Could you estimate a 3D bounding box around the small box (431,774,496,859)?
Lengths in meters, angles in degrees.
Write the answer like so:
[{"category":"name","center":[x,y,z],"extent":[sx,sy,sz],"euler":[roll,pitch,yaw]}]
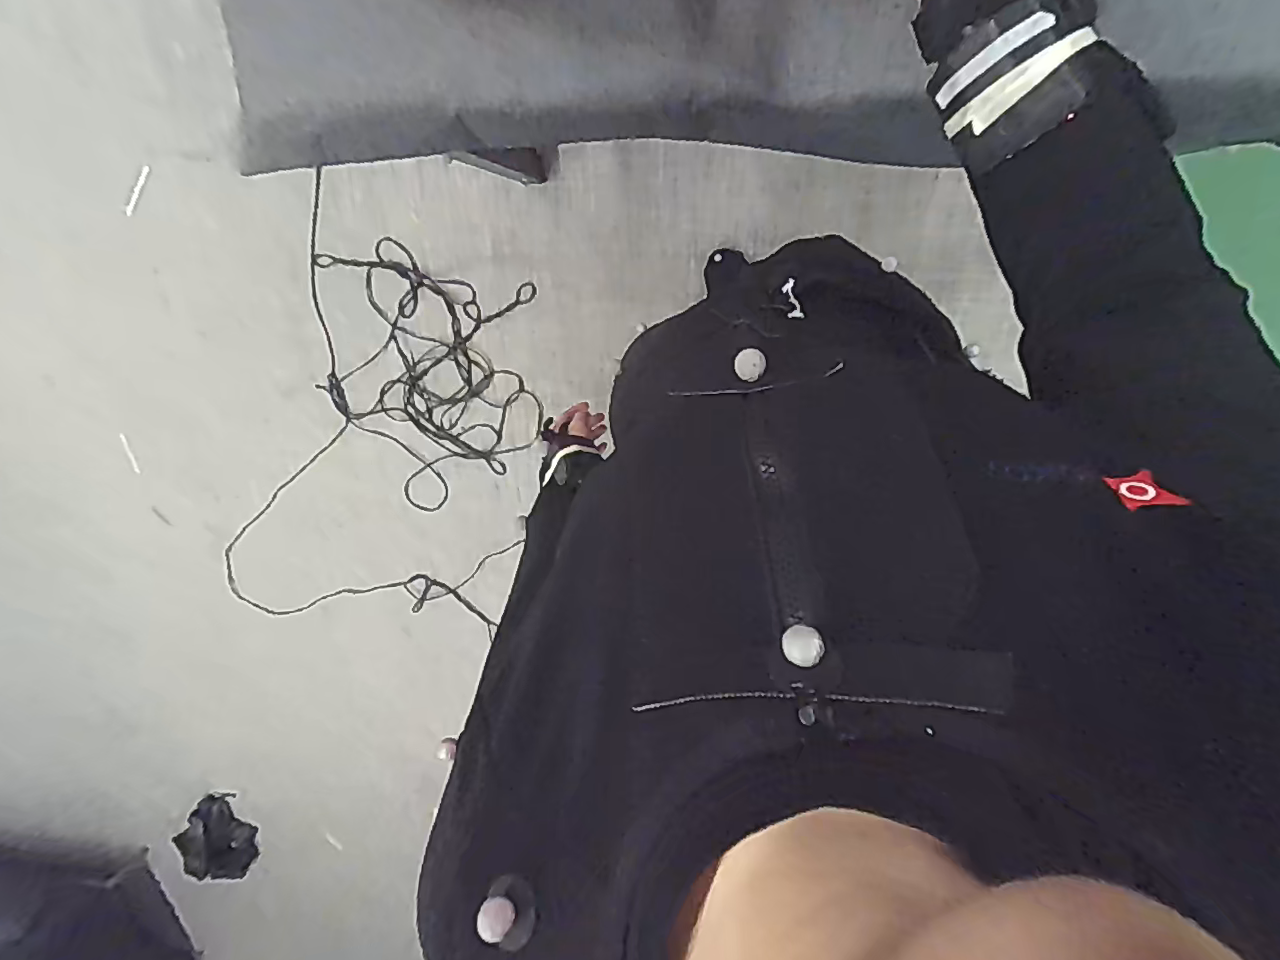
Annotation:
[{"category":"small box","center":[-0.617,1.180,1.902],"extent":[0.168,0.176,0.179],"euler":[13,113,3]}]
